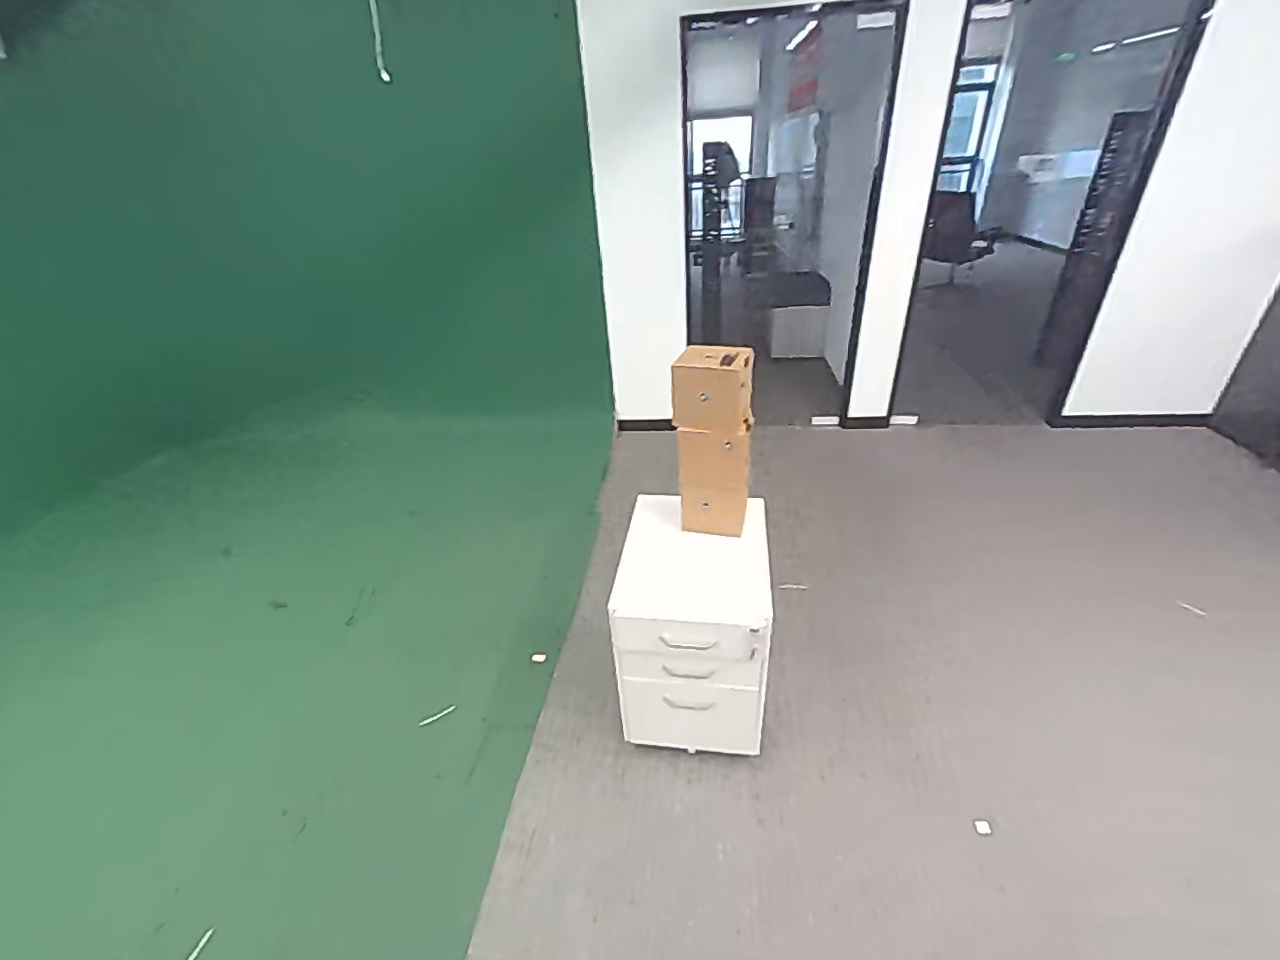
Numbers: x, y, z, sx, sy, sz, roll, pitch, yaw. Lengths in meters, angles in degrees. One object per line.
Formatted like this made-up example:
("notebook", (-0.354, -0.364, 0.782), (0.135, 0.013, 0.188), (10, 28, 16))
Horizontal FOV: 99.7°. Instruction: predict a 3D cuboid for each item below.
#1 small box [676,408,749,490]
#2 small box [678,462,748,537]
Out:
("small box", (0.200, -0.087, 1.485), (0.179, 0.176, 0.168), (5, 33, 14))
("small box", (0.215, 0.050, 1.572), (0.179, 0.176, 0.168), (5, 33, 15))
